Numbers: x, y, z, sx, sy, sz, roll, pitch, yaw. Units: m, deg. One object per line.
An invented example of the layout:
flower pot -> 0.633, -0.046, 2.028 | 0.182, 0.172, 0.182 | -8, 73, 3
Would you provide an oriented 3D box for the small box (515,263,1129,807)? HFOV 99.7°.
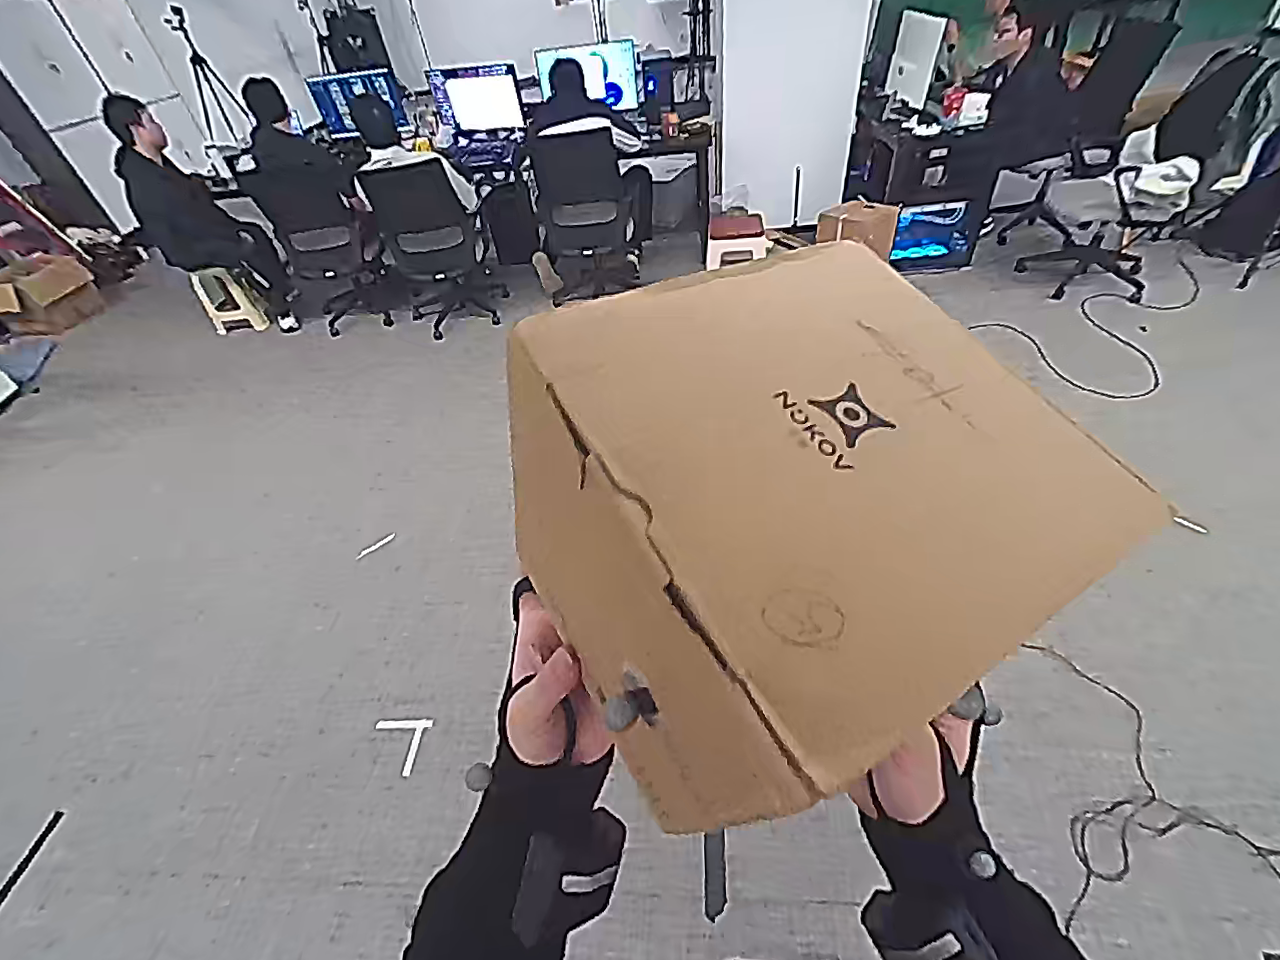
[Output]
small box -> 0.055, 0.030, 0.263 | 0.179, 0.176, 0.168 | -23, 64, -25
